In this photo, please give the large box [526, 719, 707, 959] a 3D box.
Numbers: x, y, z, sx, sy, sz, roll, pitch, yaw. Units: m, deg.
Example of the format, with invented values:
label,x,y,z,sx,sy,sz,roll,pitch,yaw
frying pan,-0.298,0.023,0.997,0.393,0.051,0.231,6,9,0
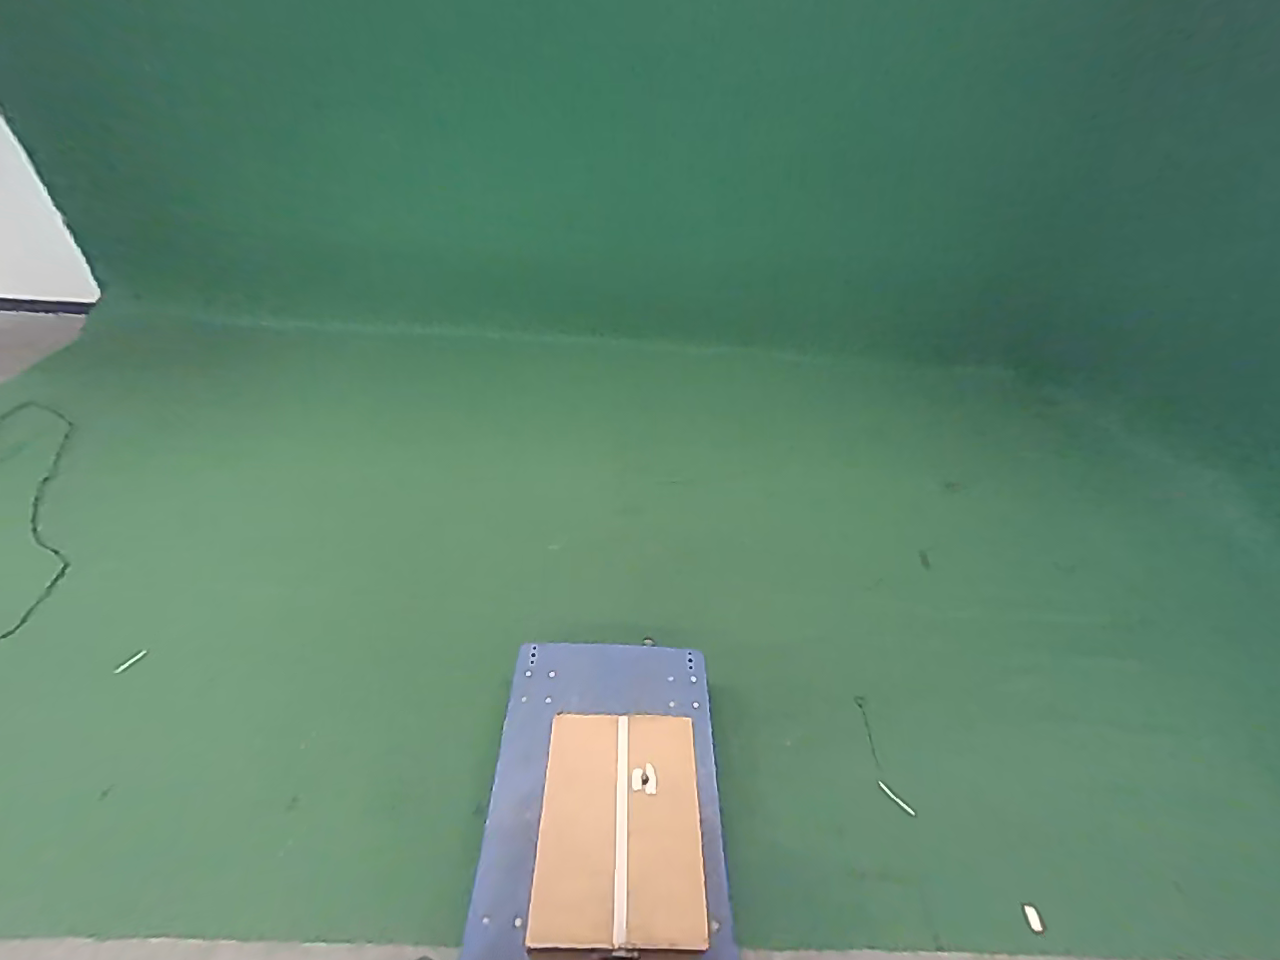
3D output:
label,x,y,z,sx,sy,sz,roll,pitch,yaw
large box,-0.052,0.781,1.152,0.320,0.320,0.408,3,39,-3
